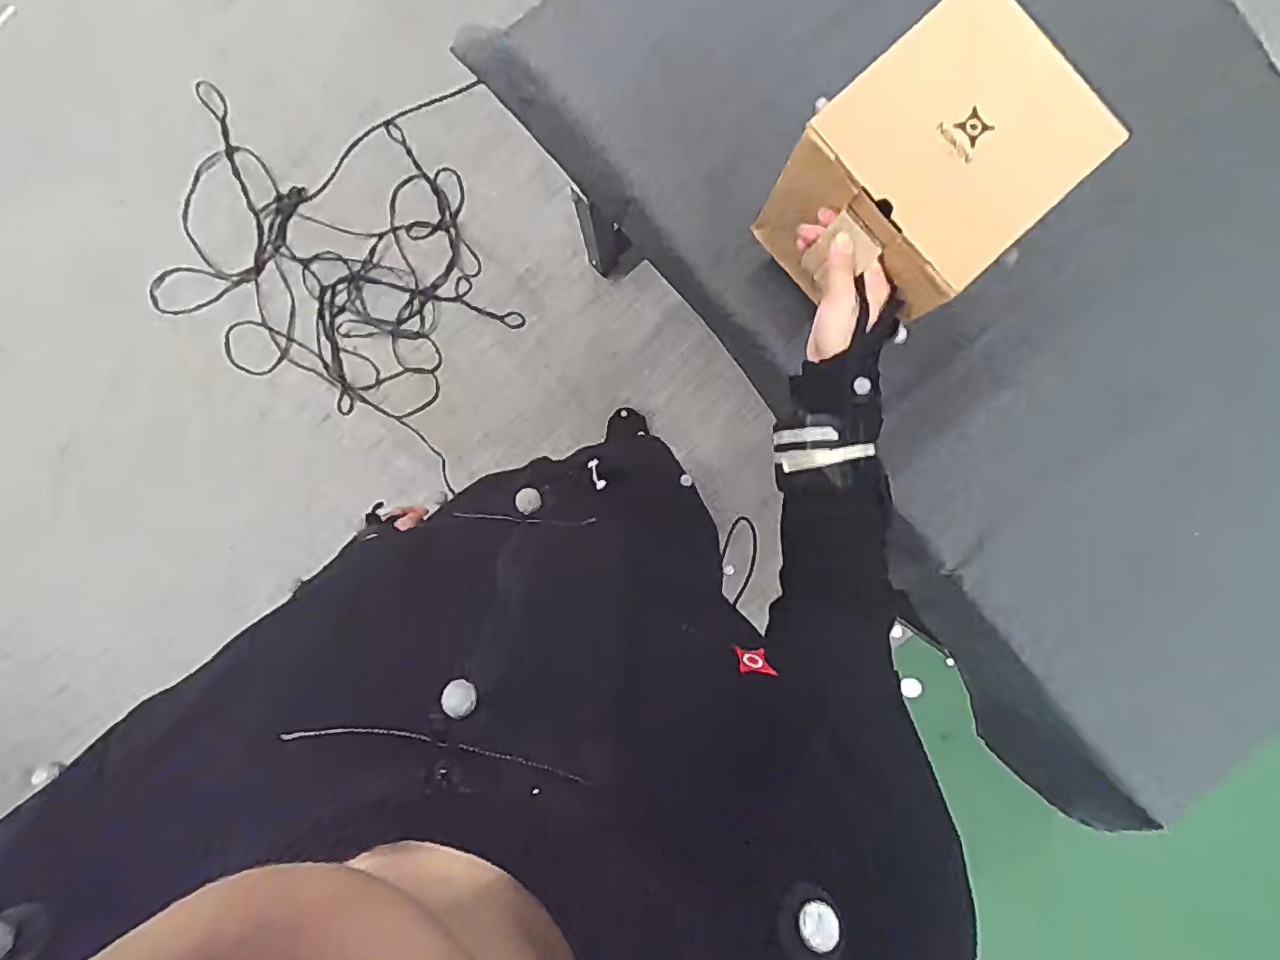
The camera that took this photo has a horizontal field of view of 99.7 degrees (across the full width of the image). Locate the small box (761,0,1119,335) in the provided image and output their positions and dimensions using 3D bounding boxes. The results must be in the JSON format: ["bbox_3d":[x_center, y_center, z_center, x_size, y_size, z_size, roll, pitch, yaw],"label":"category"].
[{"bbox_3d":[0.233,-0.257,0.472,0.179,0.176,0.168,-44,93,0],"label":"small box"}]
